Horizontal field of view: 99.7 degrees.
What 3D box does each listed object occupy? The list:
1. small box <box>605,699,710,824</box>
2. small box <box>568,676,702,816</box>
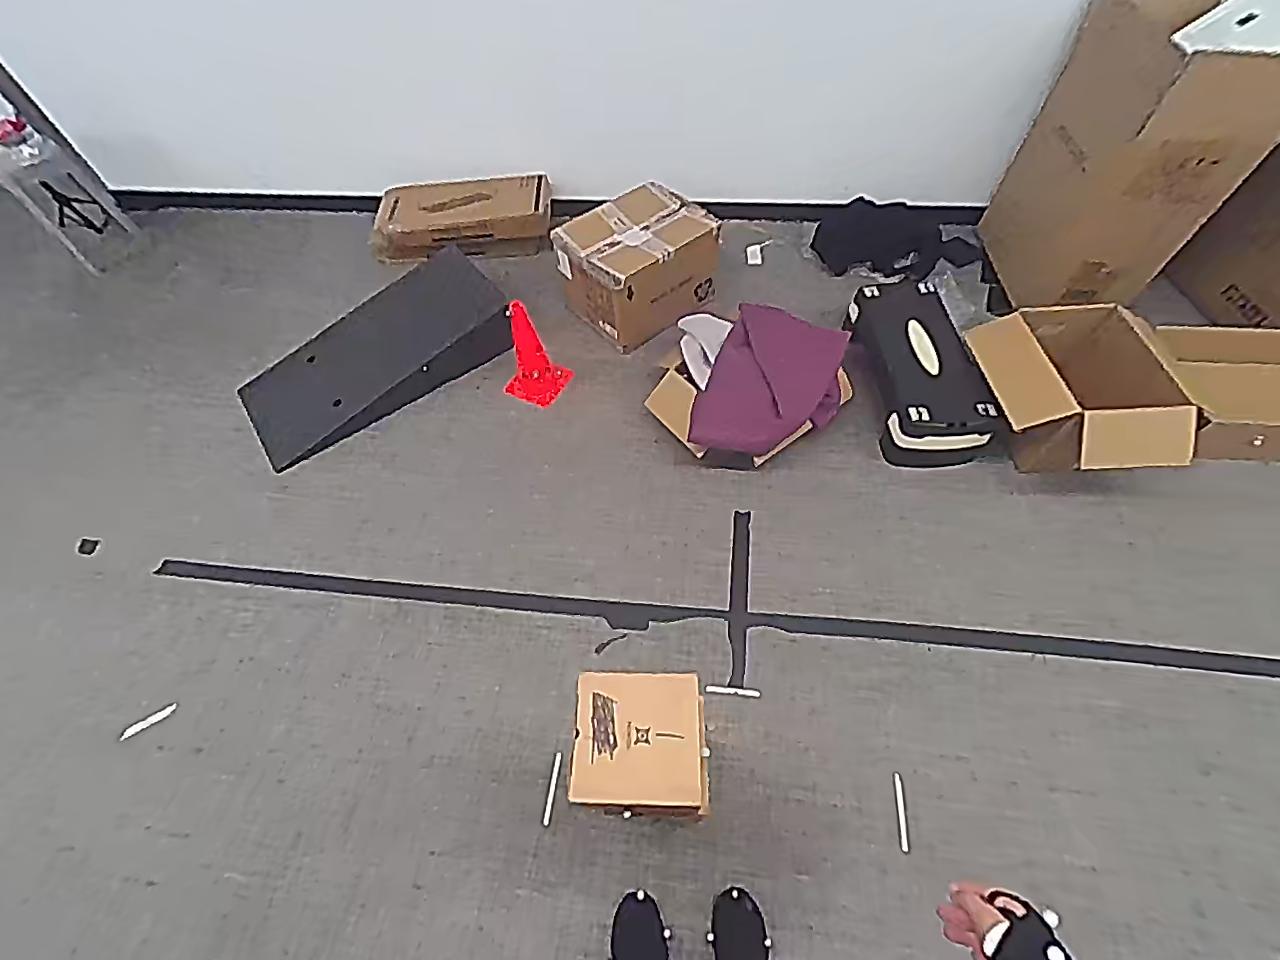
[{"bbox_3d":[0.031,0.487,0.934,0.168,0.176,0.179,-2,56,4],"label":"small box"},{"bbox_3d":[0.001,0.396,0.800,0.179,0.176,0.168,-1,57,4],"label":"small box"}]
